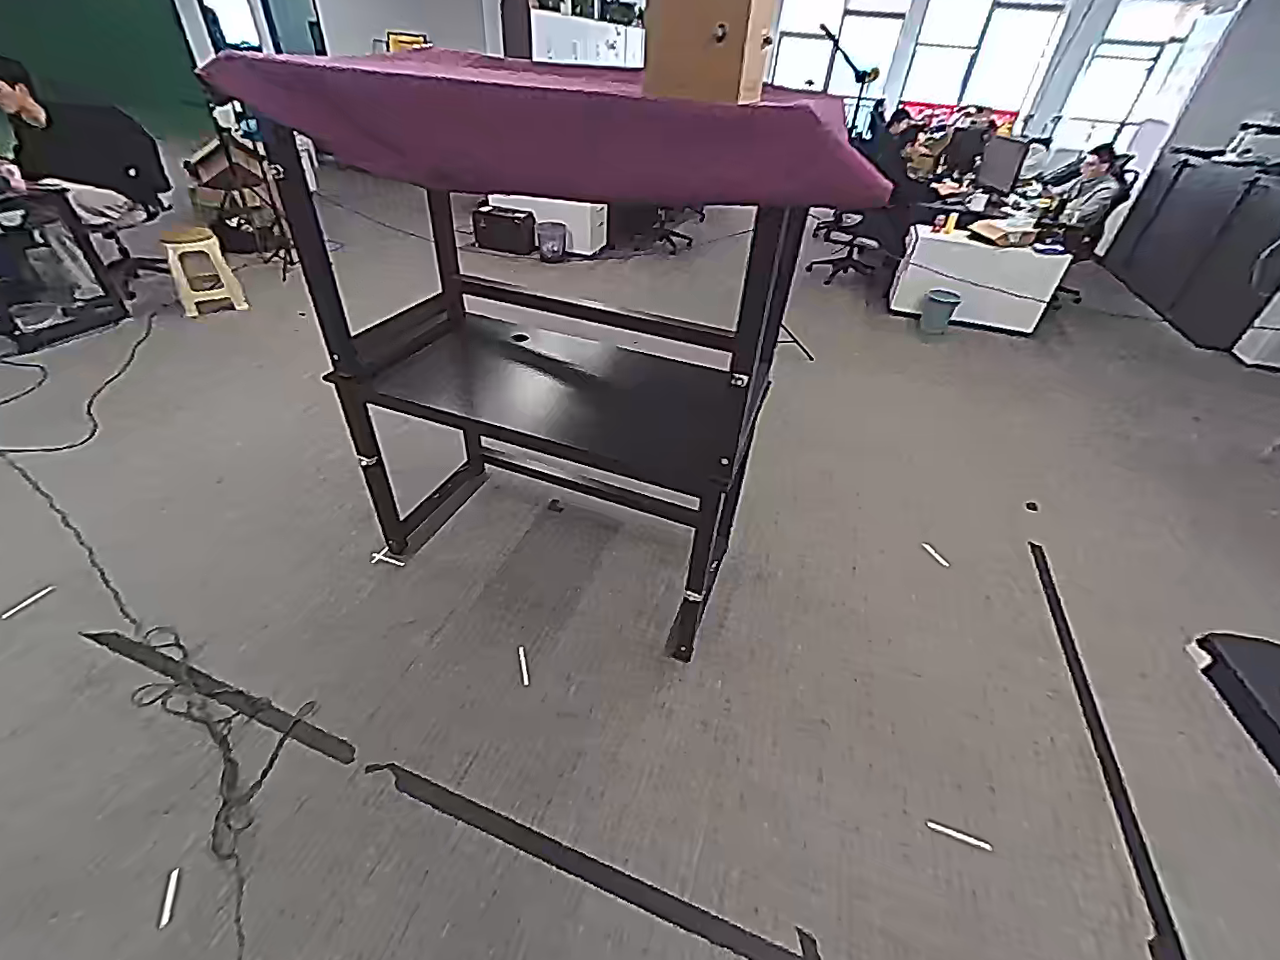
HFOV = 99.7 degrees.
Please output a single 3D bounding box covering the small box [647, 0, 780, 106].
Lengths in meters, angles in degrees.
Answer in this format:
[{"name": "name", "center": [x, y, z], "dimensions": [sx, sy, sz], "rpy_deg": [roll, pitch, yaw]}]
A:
[{"name": "small box", "center": [0.124, -0.733, 0.907], "dimensions": [0.179, 0.176, 0.168], "rpy_deg": [17, 38, 16]}]
